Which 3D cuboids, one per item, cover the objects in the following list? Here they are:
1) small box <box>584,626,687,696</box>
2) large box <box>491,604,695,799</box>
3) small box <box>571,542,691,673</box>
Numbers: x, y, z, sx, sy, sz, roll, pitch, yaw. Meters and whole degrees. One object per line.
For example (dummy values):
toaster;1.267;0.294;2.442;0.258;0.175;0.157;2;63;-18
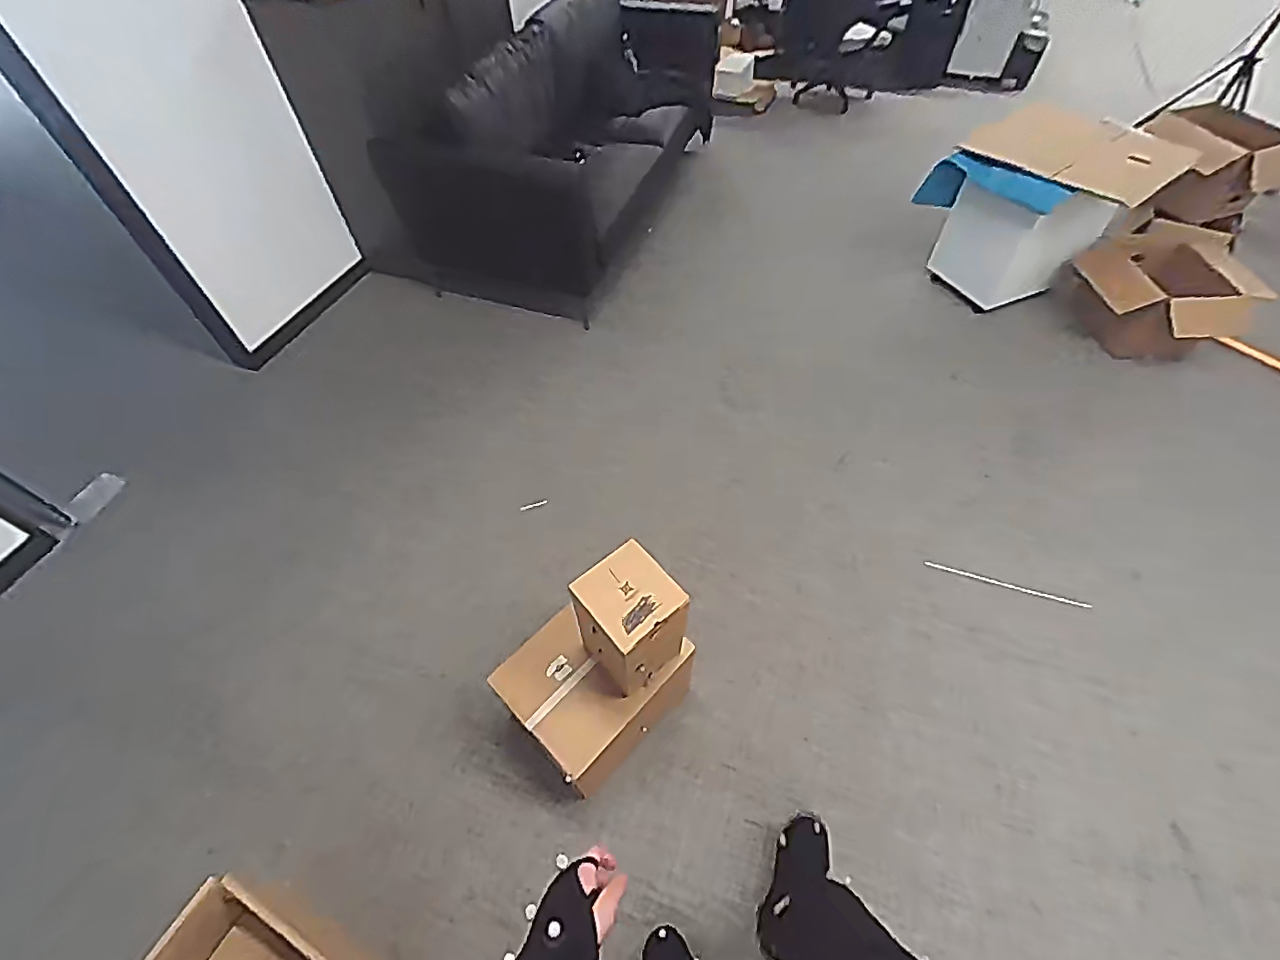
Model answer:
small box;-0.016;0.355;1.225;0.168;0.176;0.179;-35;61;-21
large box;-0.103;0.531;1.400;0.320;0.320;0.408;37;63;25
small box;-0.016;0.265;1.088;0.168;0.176;0.179;-34;60;-21
